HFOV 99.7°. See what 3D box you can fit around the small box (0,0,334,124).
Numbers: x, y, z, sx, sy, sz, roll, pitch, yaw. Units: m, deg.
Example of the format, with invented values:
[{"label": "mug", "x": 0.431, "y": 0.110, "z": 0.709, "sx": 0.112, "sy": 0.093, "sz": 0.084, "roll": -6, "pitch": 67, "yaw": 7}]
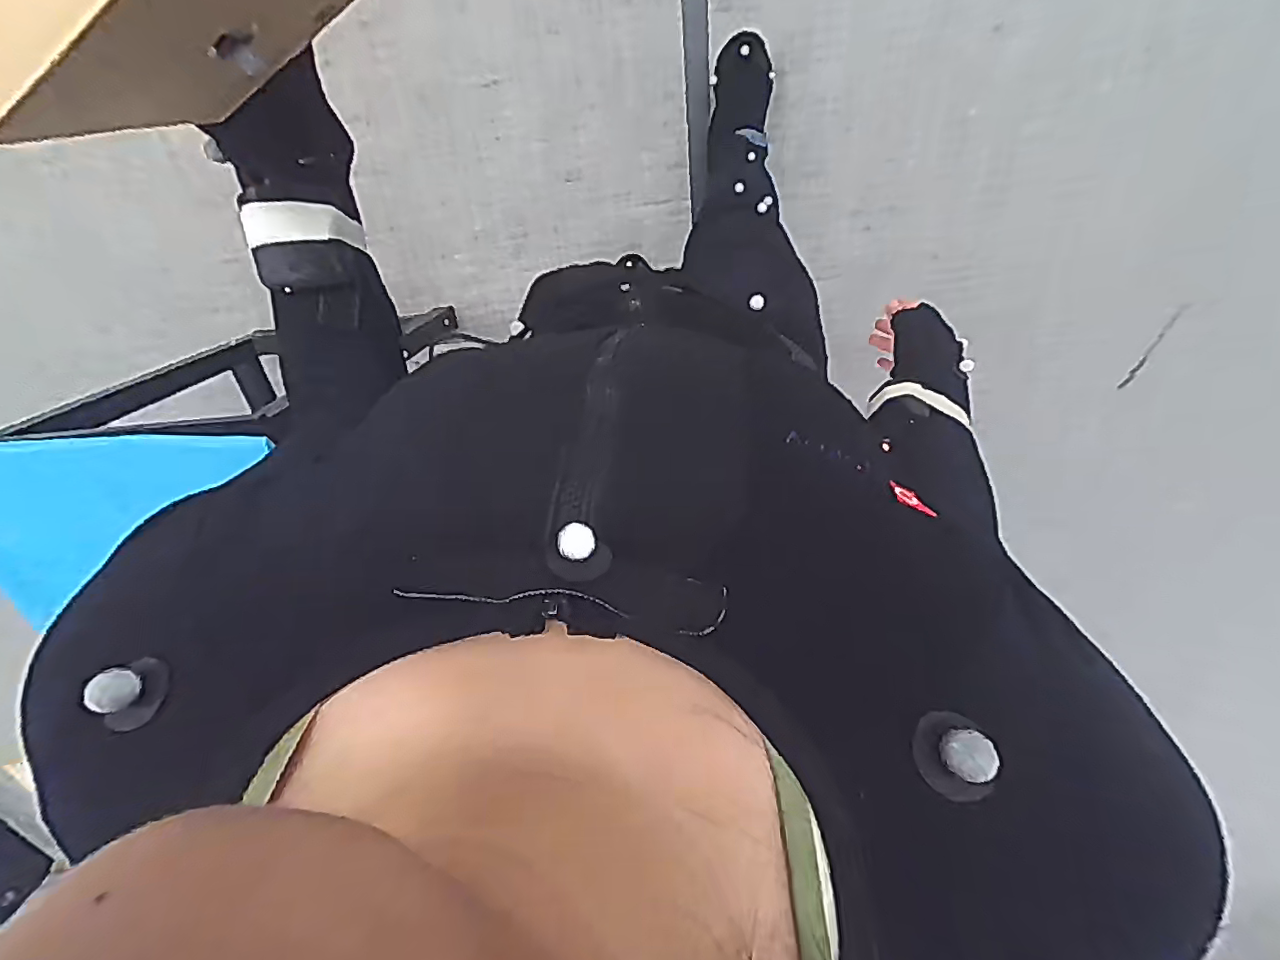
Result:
[{"label": "small box", "x": -0.229, "y": -0.278, "z": 0.209, "sx": 0.168, "sy": 0.176, "sz": 0.179, "roll": -26, "pitch": 123, "yaw": 15}]
